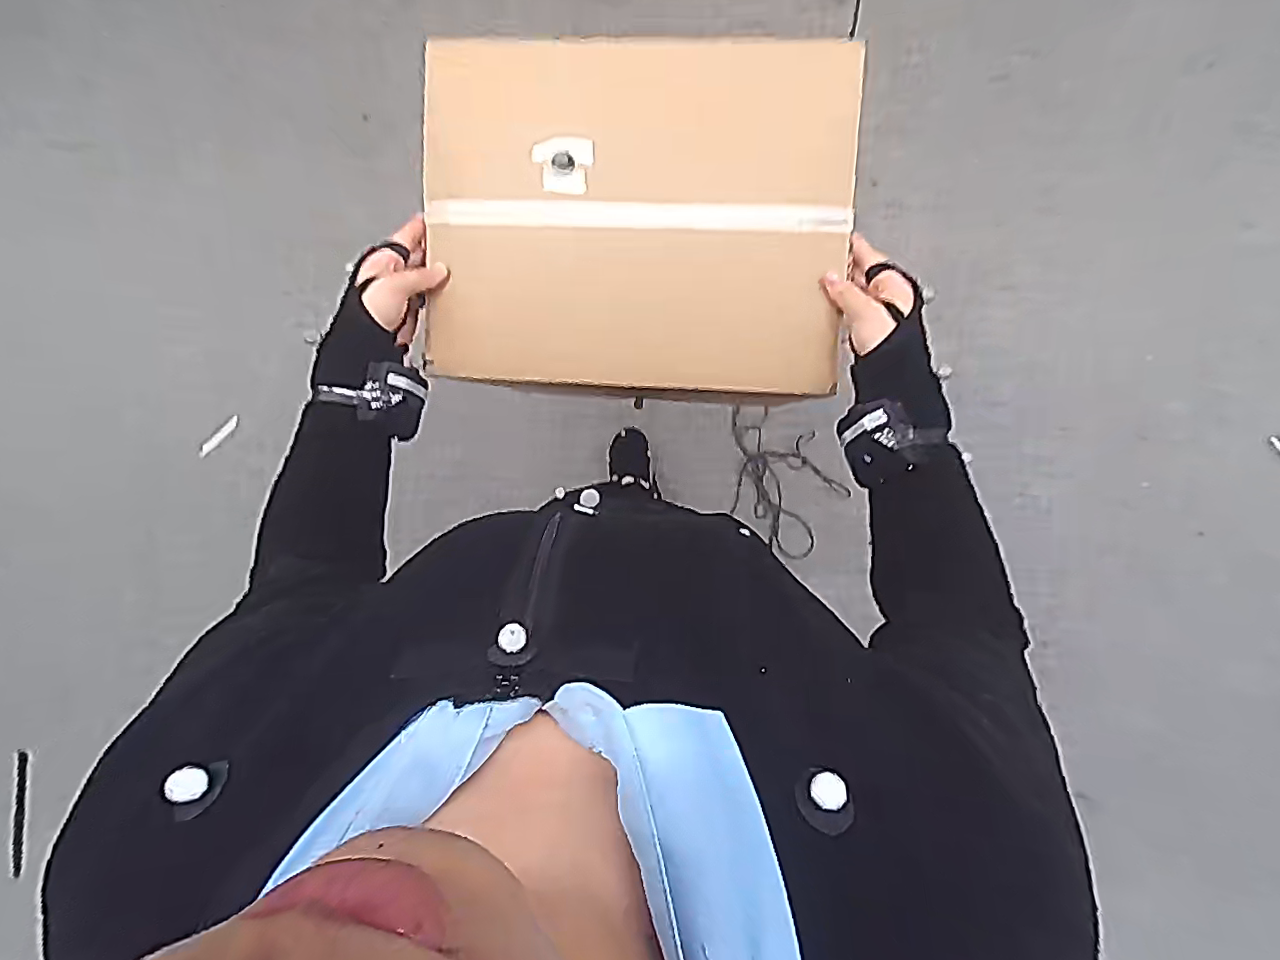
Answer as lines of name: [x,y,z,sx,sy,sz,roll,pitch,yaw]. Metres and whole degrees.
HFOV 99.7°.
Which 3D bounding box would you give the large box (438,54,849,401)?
large box: [0.008,-0.263,0.677,0.408,0.320,0.320,3,94,4]
